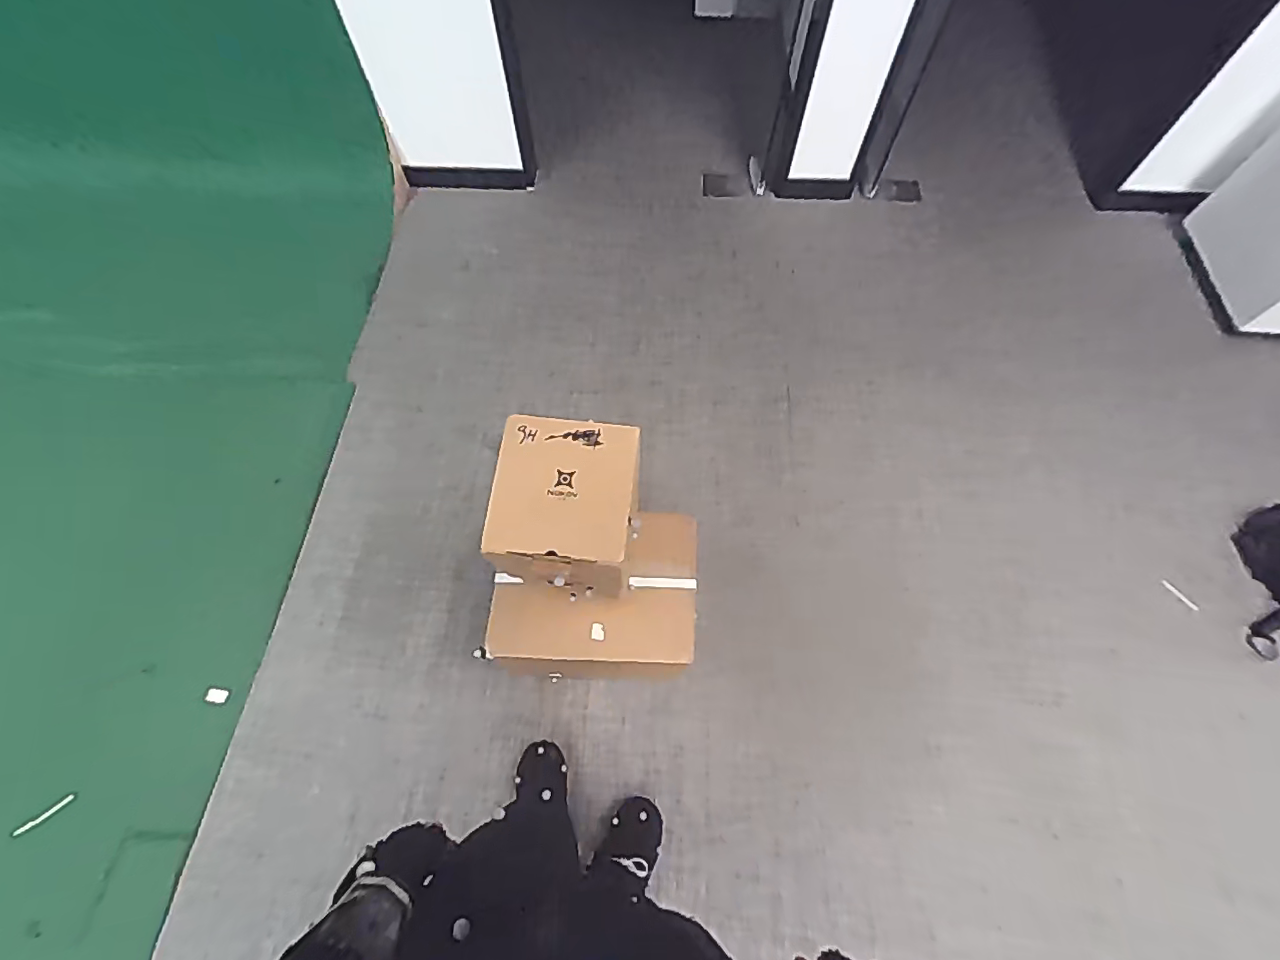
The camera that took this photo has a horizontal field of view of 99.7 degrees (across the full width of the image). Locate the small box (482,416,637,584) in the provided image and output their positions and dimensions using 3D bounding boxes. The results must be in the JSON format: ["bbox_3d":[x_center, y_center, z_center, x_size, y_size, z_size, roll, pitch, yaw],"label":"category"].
[{"bbox_3d":[-0.093,0.036,0.720,0.168,0.176,0.179,6,70,1],"label":"small box"}]

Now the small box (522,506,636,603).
[{"bbox_3d":[-0.106,0.133,1.028,0.179,0.176,0.168,8,68,3],"label":"small box"}]

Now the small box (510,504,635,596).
[{"bbox_3d":[-0.100,0.082,0.877,0.168,0.176,0.179,9,68,2],"label":"small box"}]
